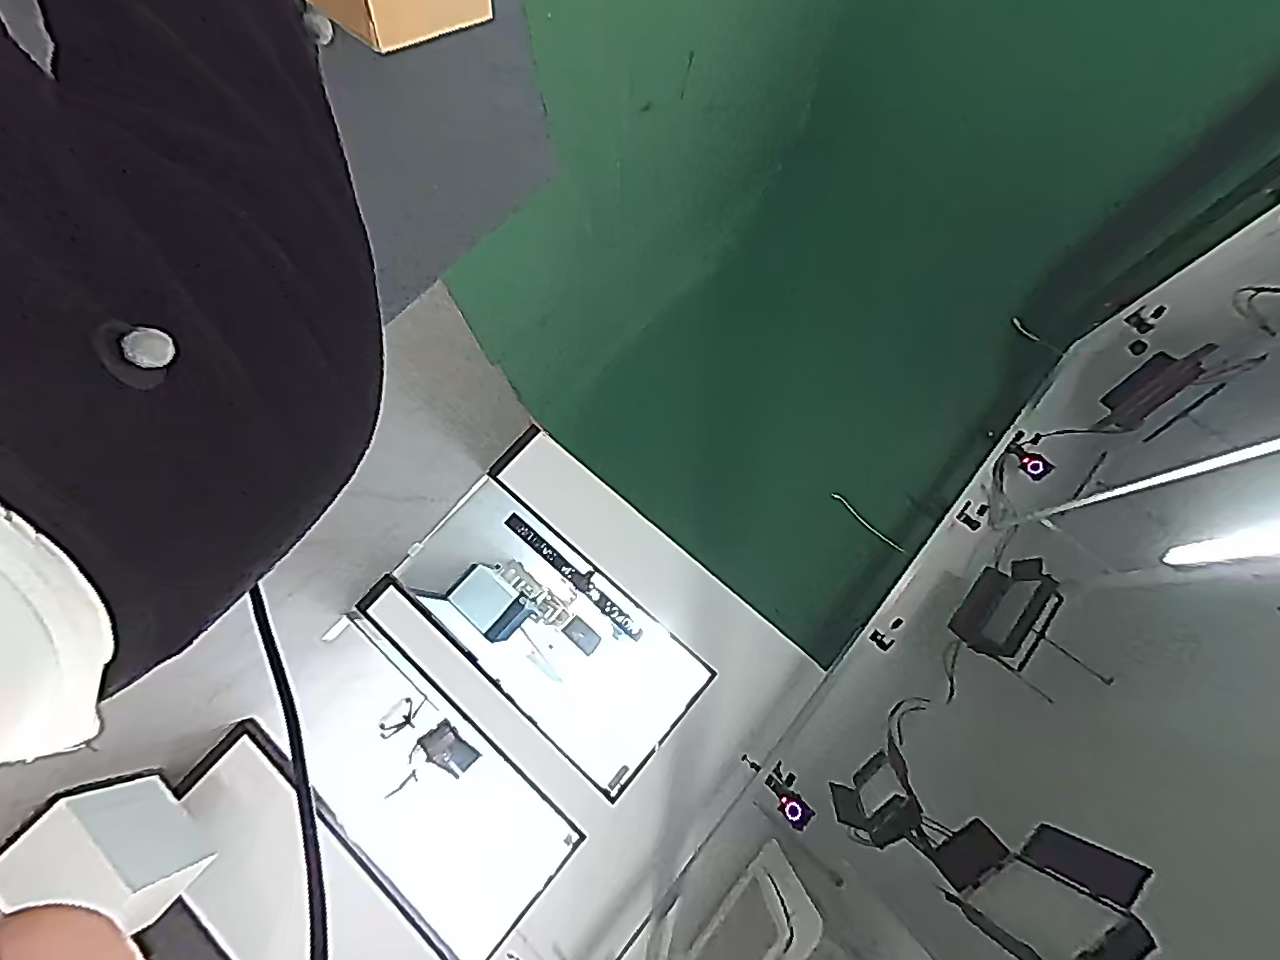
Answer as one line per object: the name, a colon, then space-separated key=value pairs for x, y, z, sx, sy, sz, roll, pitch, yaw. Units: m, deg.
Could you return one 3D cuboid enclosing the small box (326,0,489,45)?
small box: x=-0.296 y=-0.642 z=0.606 sx=0.179 sy=0.176 sz=0.168 roll=-45 pitch=170 yaw=-27
